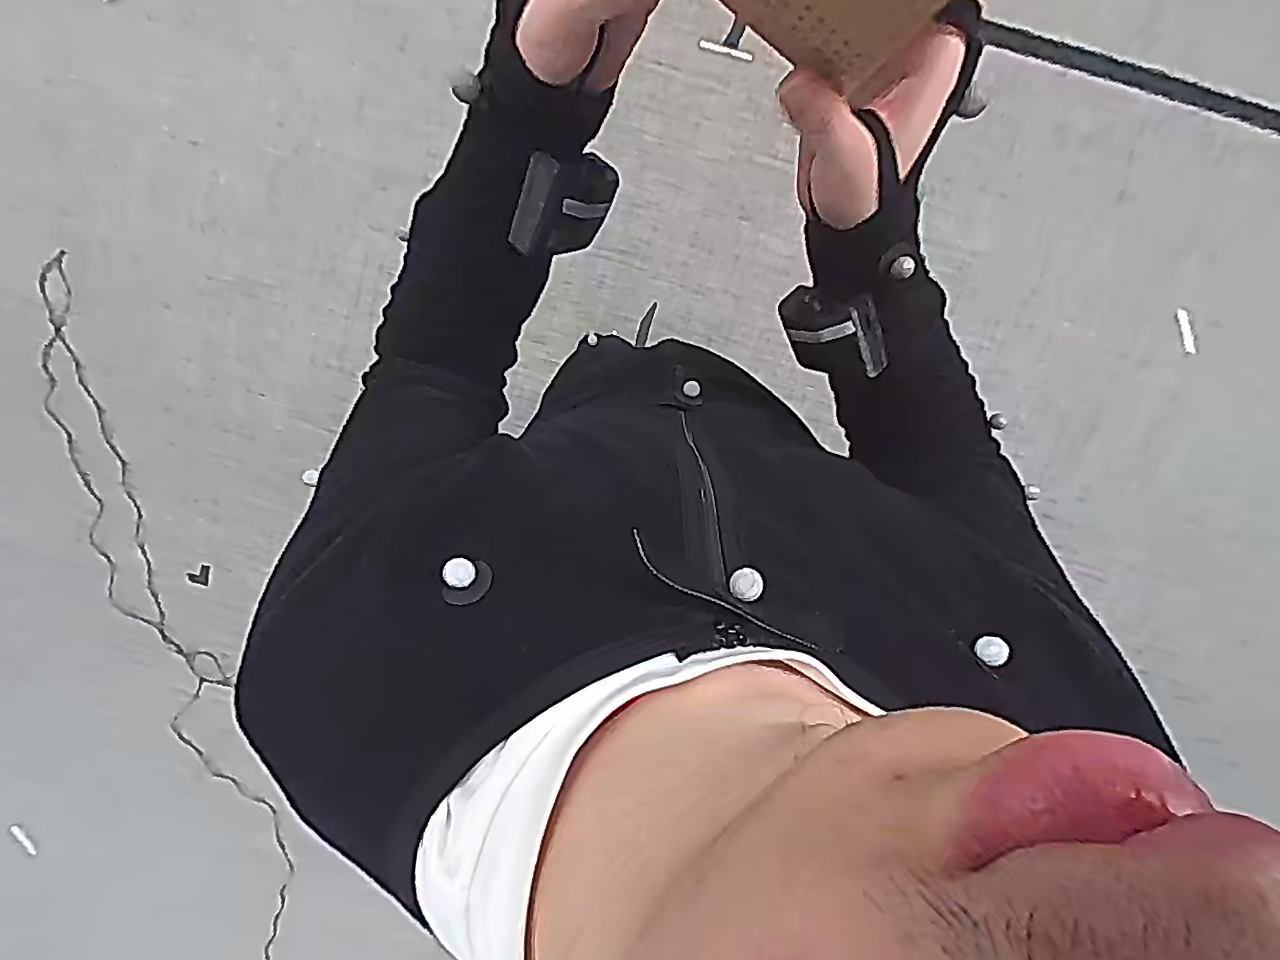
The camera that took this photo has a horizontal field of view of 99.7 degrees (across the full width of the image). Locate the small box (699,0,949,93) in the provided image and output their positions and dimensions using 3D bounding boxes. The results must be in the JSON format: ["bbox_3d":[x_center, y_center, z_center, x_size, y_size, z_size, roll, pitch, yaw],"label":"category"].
[{"bbox_3d":[0.076,-0.265,0.143,0.168,0.176,0.179,29,98,-13],"label":"small box"}]
